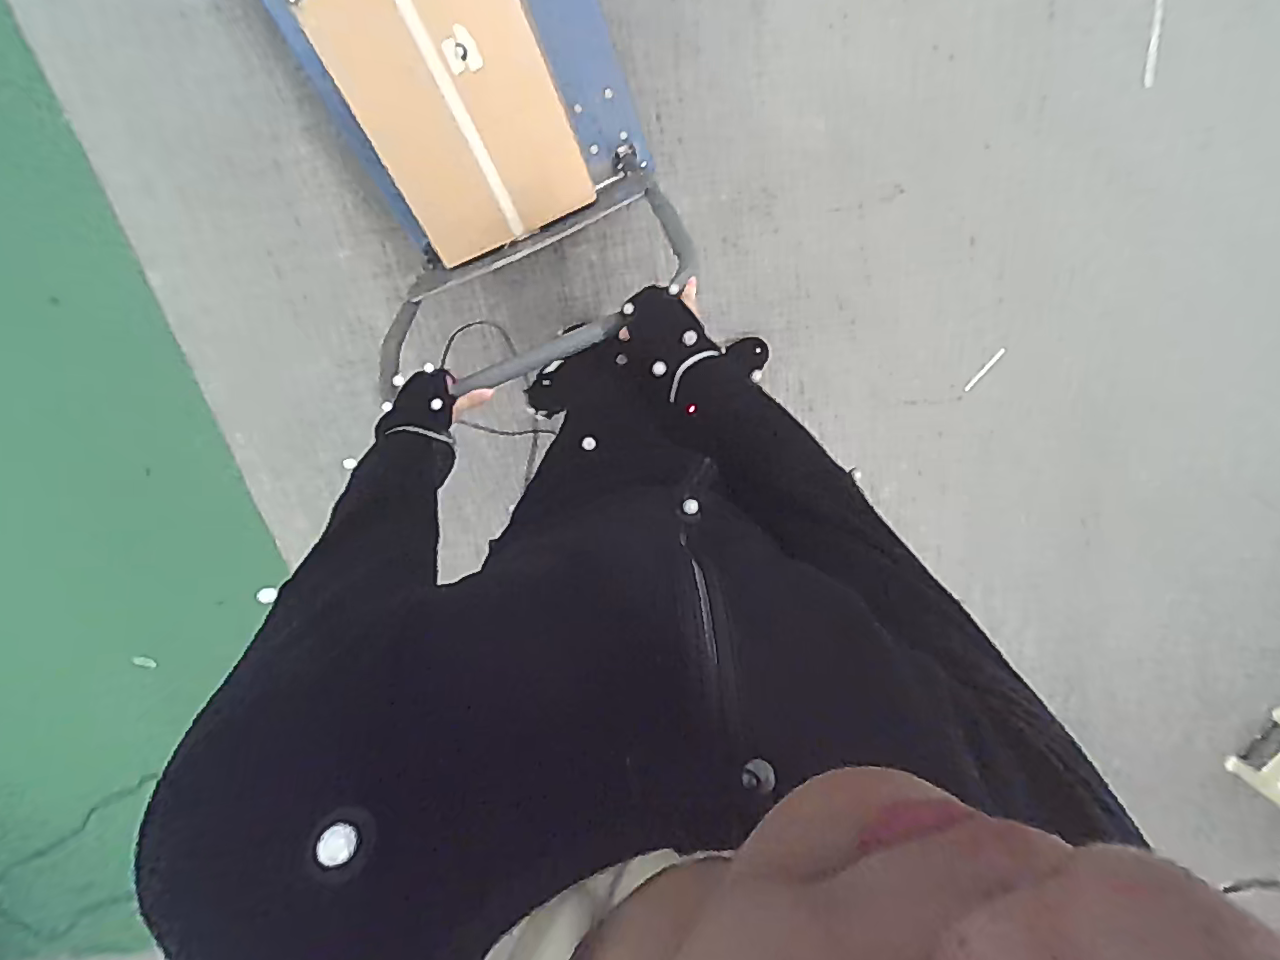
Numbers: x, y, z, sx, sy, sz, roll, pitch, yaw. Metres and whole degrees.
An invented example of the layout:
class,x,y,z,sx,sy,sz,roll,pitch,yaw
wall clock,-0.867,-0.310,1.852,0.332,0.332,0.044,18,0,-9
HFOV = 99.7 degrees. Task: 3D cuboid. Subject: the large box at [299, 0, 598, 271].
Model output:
class,x,y,z,sx,sy,sz,roll,pitch,yaw
large box,-0.300,-0.675,1.003,0.320,0.320,0.408,-22,125,9
